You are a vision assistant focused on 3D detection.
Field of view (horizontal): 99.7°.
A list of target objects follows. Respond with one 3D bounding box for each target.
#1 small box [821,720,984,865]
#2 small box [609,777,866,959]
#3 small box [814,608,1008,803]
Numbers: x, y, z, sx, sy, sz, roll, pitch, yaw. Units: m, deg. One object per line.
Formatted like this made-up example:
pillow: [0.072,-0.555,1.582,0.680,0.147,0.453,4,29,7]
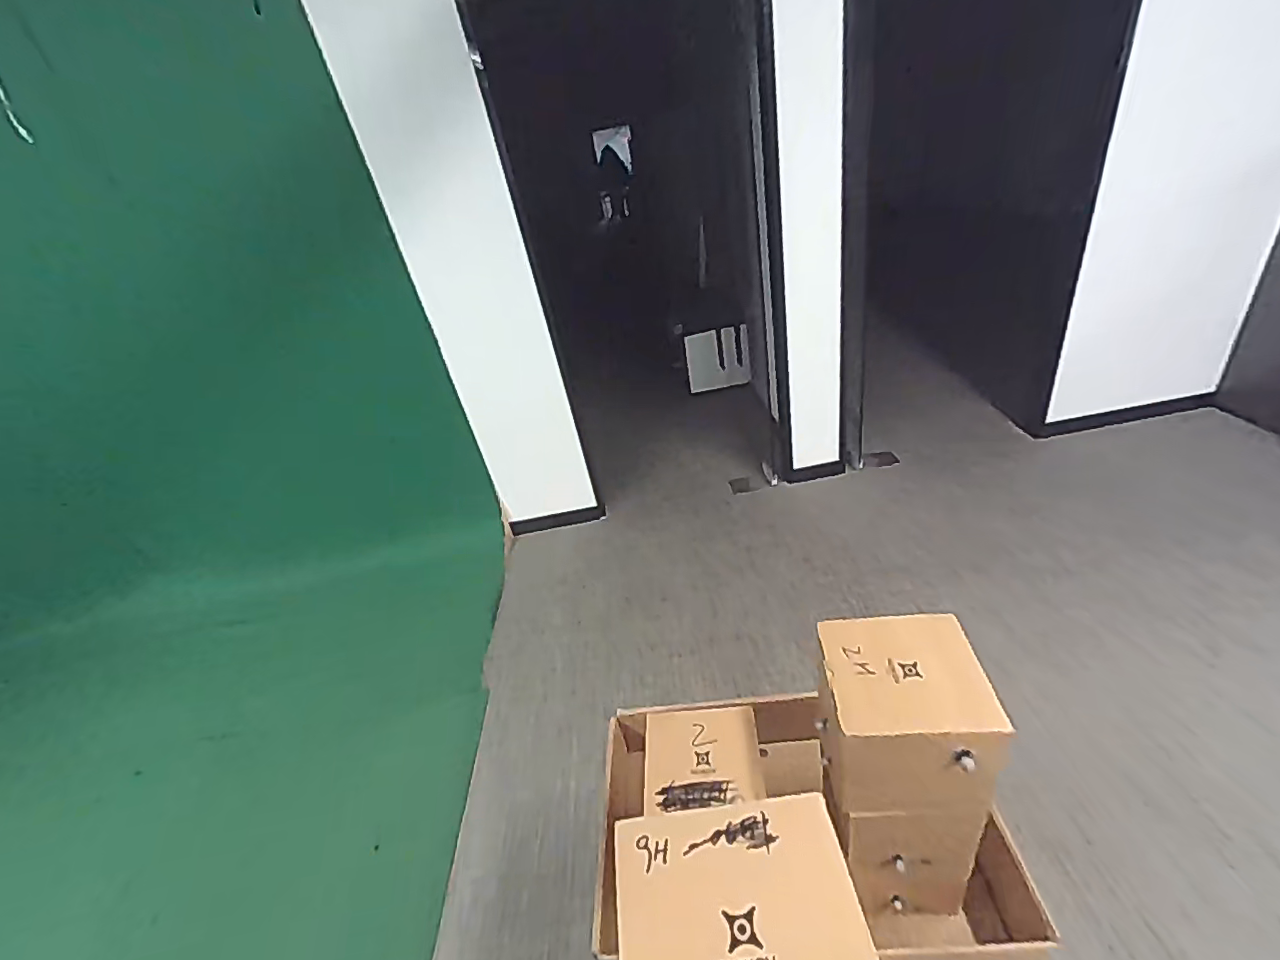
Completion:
small box: [0.360,0.419,0.780,0.168,0.176,0.179,-8,34,10]
small box: [0.072,0.361,0.407,0.168,0.176,0.179,-9,36,1]
small box: [0.325,0.286,0.688,0.179,0.176,0.168,-7,33,12]
